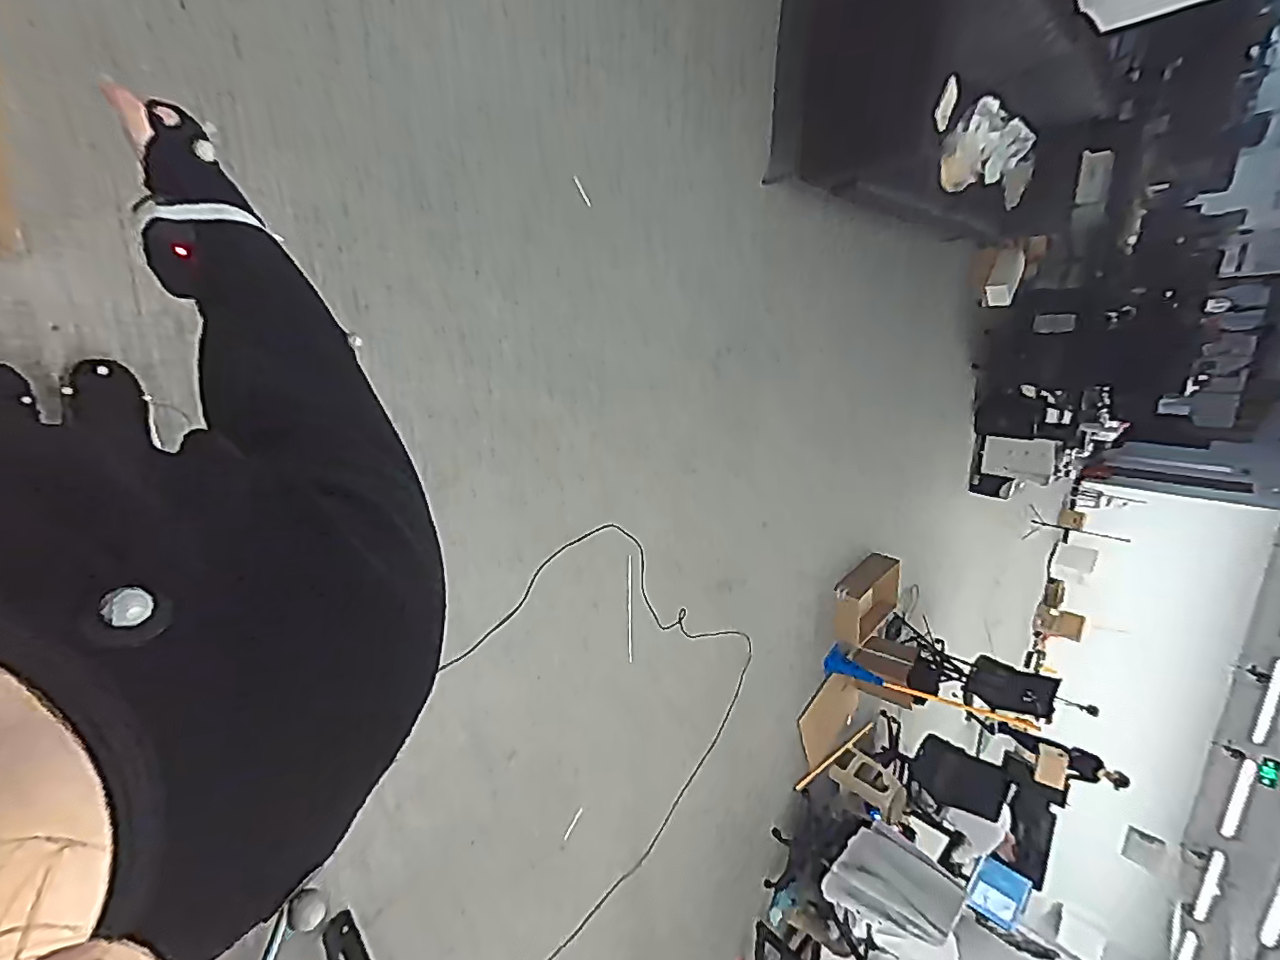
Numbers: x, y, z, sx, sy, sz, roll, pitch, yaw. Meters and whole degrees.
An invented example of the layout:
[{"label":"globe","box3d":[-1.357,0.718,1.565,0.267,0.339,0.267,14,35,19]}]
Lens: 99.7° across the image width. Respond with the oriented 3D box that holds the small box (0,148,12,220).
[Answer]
[{"label":"small box","box3d":[-0.772,-0.373,0.538,0.168,0.176,0.179,-10,107,-43]}]
